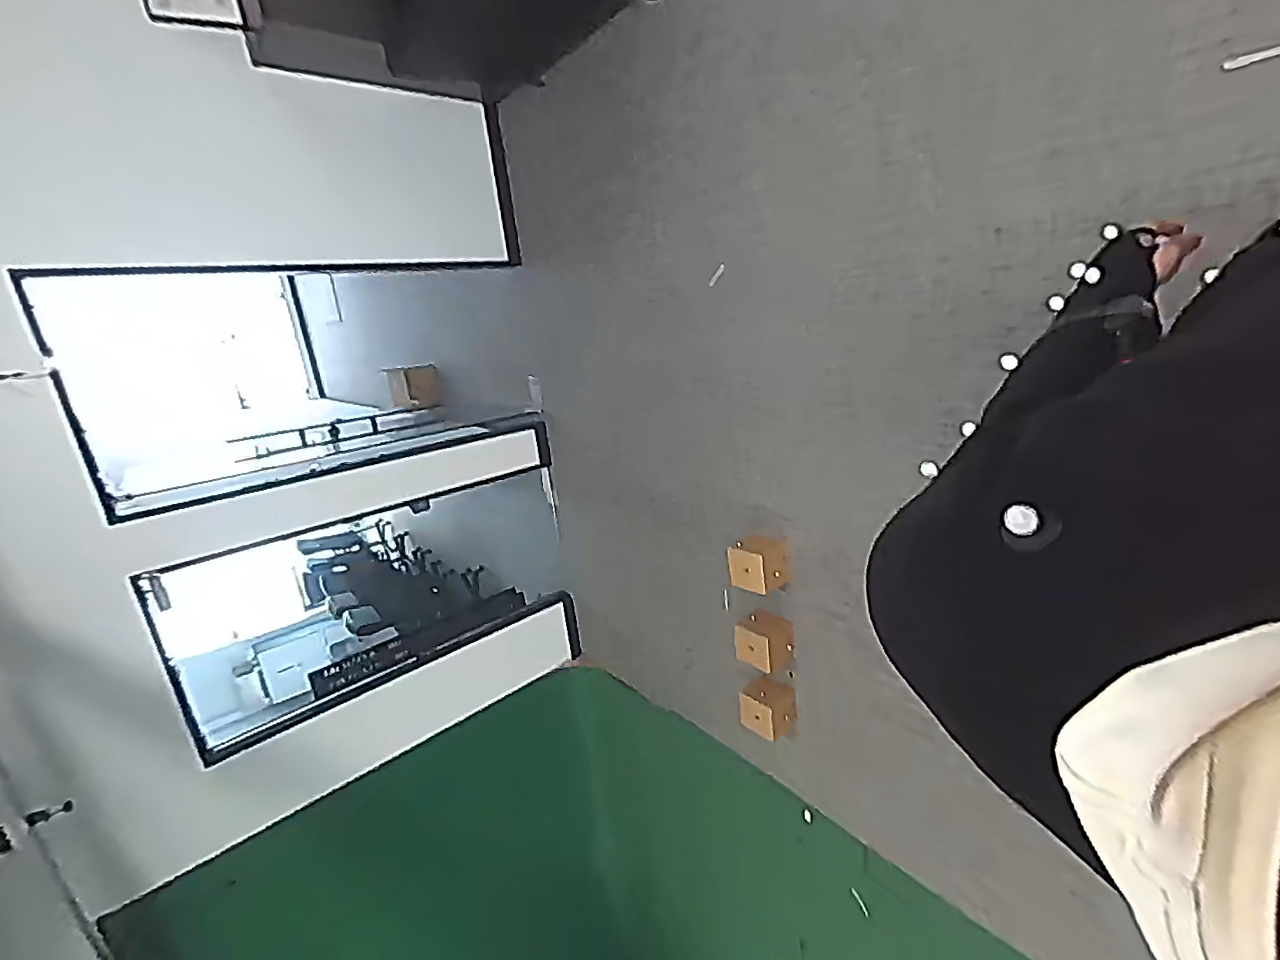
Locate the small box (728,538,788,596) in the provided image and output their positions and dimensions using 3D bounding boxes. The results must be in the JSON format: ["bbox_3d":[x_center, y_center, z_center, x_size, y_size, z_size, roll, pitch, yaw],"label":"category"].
[{"bbox_3d":[0.481,0.344,2.171,0.179,0.176,0.168,8,110,51],"label":"small box"}]

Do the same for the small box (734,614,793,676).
[{"bbox_3d":[0.518,0.680,2.261,0.179,0.176,0.168,12,114,49],"label":"small box"}]

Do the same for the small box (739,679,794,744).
[{"bbox_3d":[0.552,0.996,2.343,0.179,0.176,0.168,12,113,50],"label":"small box"}]
